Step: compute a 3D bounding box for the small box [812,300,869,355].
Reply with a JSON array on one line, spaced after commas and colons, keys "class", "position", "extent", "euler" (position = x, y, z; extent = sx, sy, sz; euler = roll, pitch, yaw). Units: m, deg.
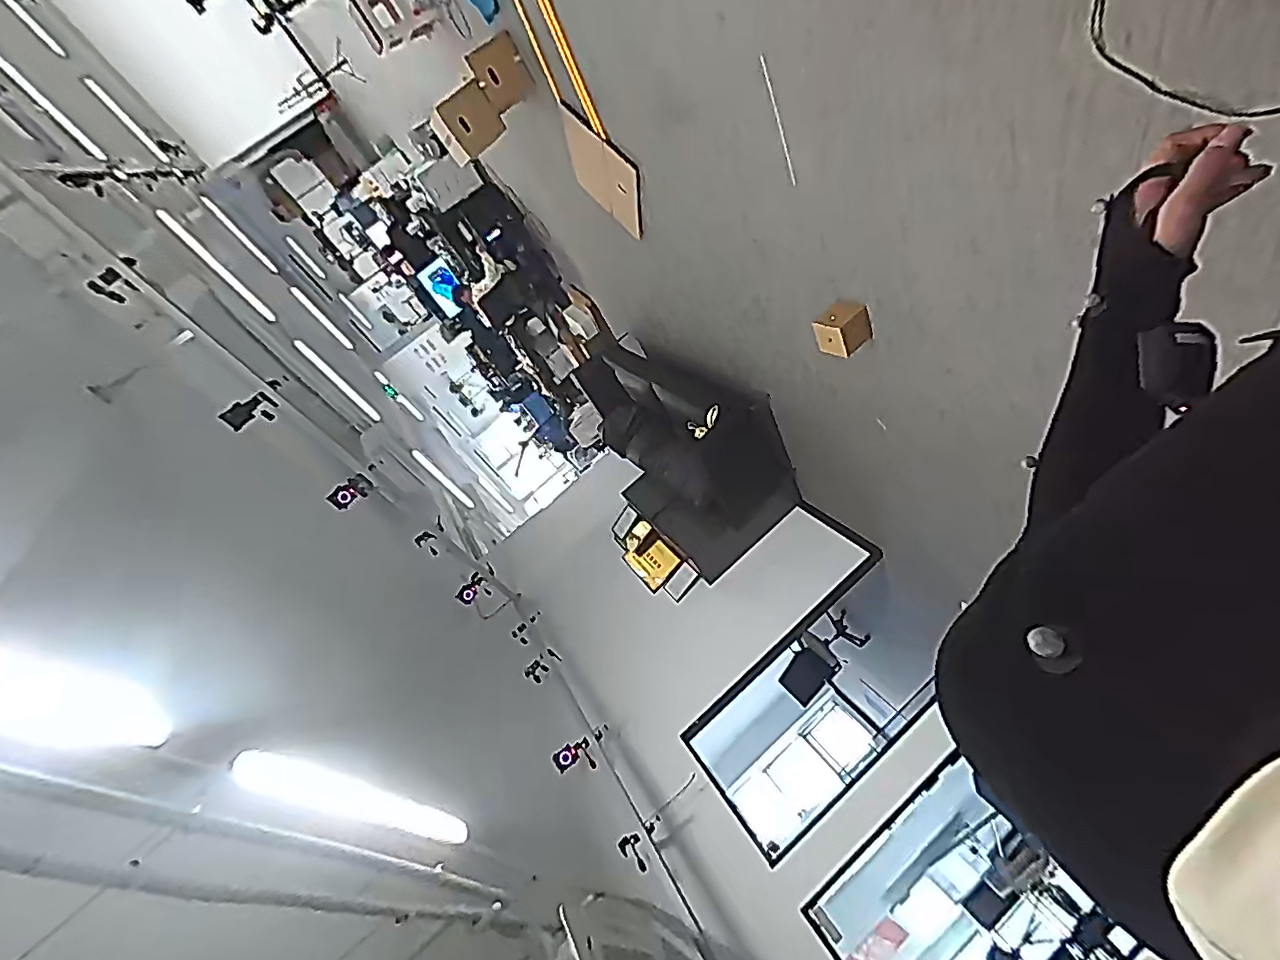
[{"class": "small box", "position": [0.931, -0.706, 2.491], "extent": [0.179, 0.176, 0.168], "euler": [40, 168, 52]}]
